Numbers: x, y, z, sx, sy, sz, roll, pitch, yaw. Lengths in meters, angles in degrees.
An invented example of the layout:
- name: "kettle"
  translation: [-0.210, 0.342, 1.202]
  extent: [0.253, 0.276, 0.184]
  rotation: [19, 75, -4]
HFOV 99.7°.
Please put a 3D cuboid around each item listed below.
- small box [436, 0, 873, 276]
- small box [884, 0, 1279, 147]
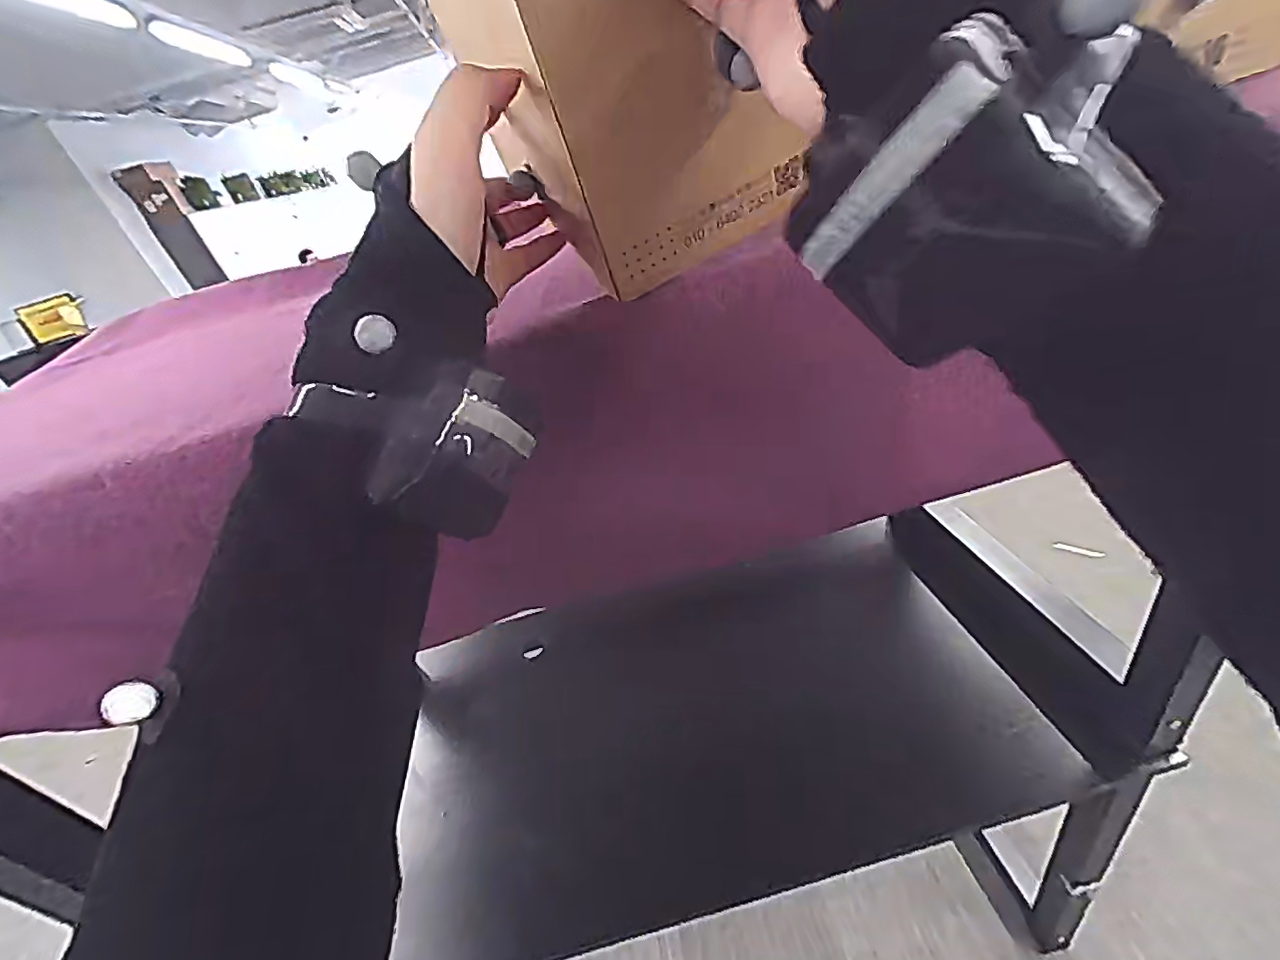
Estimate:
- name: "small box"
  translation: [0.002, -0.234, 0.280]
  extent: [0.168, 0.176, 0.179]
  rotation: [-30, 49, -5]
- name: "small box"
  translation: [0.276, -0.332, 0.350]
  extent: [0.168, 0.176, 0.179]
  rotation: [-20, 32, -2]
